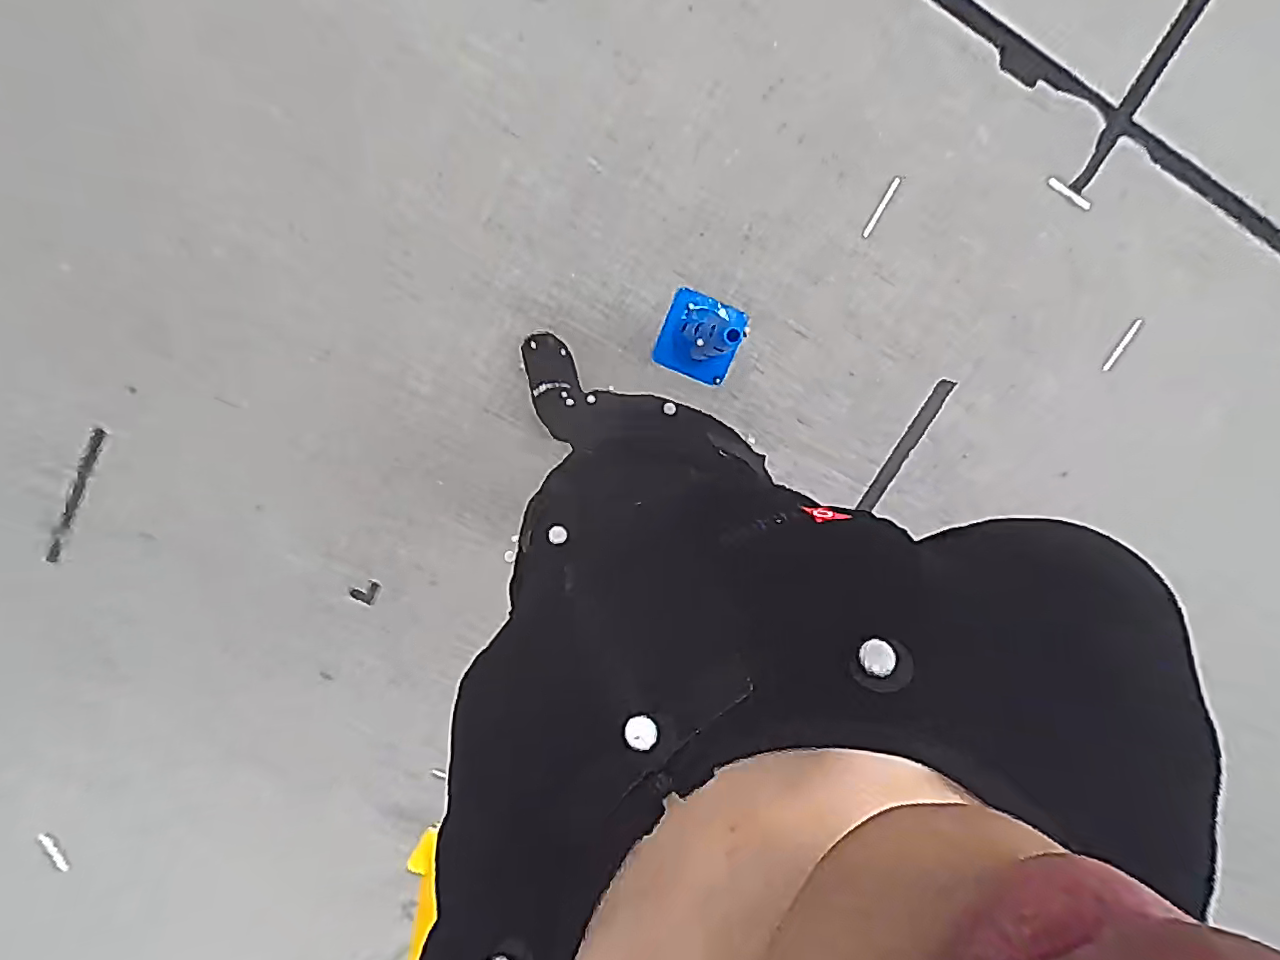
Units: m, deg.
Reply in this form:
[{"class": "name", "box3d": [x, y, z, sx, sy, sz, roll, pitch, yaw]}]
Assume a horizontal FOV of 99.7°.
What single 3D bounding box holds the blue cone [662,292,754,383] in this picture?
[{"class": "blue cone", "box3d": [0.177, -0.322, 1.214, 0.192, 0.380, 0.193, 22, 101, -10]}]
